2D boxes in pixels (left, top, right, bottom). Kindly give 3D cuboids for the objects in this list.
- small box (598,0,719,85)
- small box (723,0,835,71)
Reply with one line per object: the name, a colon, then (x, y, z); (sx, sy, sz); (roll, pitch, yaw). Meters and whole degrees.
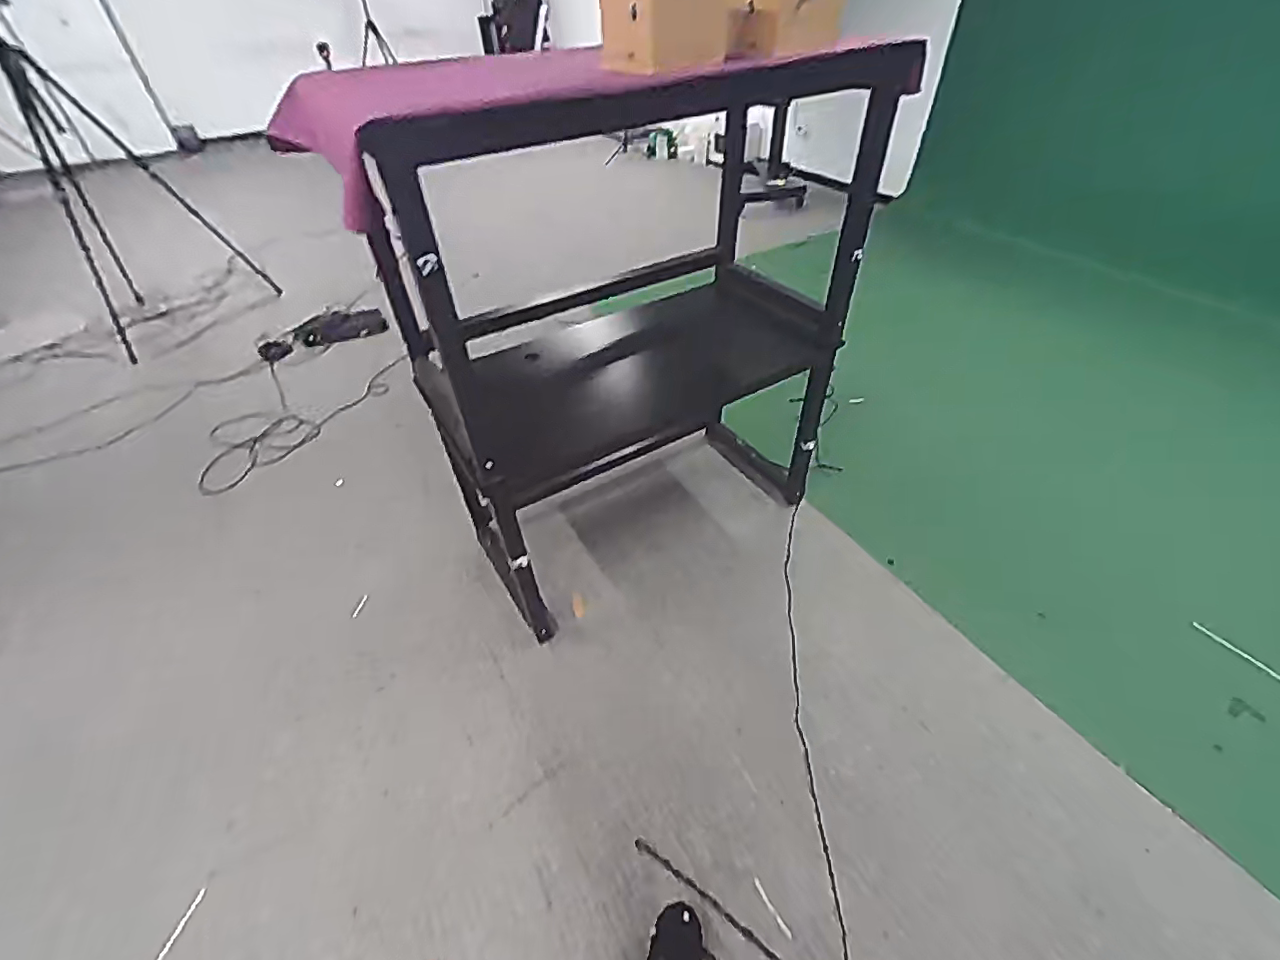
small box: (0.036, -0.851, 1.006); (0.179, 0.176, 0.168); (-26, 47, -23)
small box: (0.284, -0.957, 1.106); (0.179, 0.176, 0.168); (-26, 49, -21)
